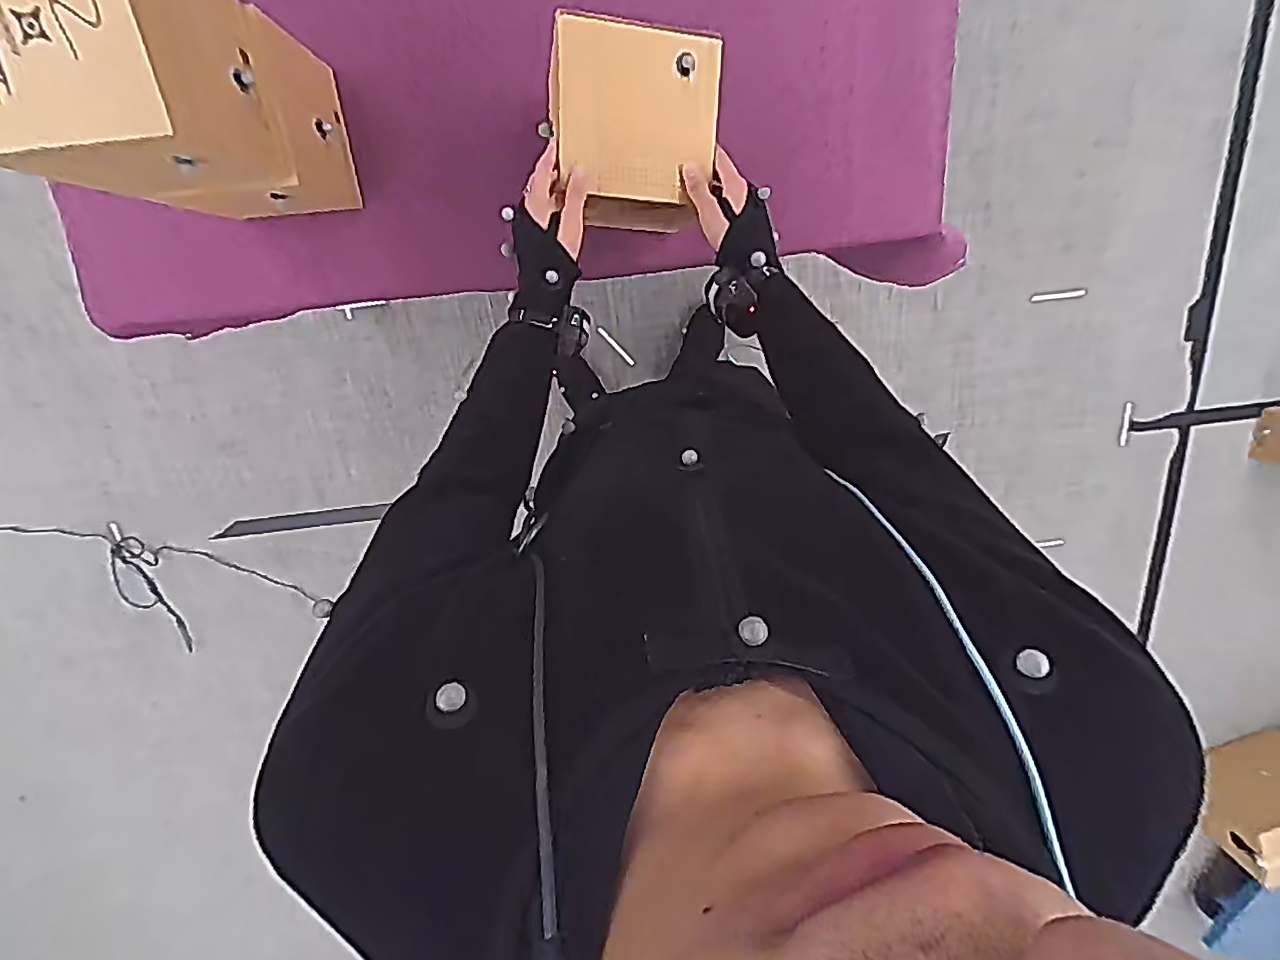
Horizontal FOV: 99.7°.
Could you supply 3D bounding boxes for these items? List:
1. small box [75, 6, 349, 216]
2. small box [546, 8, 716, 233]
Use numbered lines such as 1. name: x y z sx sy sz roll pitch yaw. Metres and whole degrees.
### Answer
1. small box: -0.473 -0.417 0.638 0.179 0.176 0.168 -5 109 -1
2. small box: -0.020 -0.401 0.639 0.179 0.168 0.176 0 105 -11
